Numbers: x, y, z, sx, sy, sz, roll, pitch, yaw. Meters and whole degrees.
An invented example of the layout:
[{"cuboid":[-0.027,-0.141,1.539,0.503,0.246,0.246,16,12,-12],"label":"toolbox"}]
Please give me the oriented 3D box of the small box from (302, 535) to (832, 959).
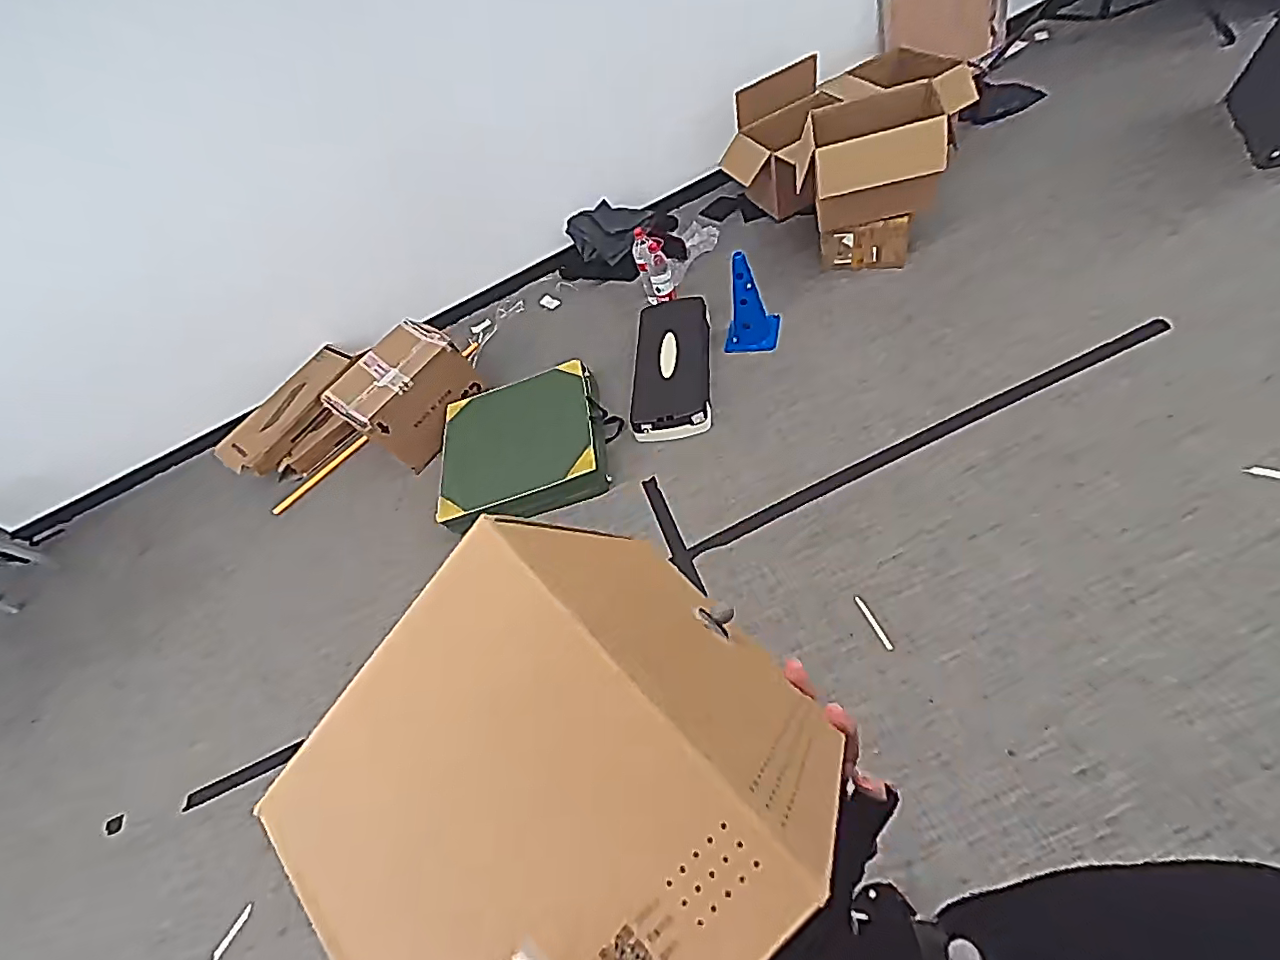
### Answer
[{"cuboid":[-0.020,0.150,0.284,0.176,0.179,0.168,41,97,23],"label":"small box"}]
